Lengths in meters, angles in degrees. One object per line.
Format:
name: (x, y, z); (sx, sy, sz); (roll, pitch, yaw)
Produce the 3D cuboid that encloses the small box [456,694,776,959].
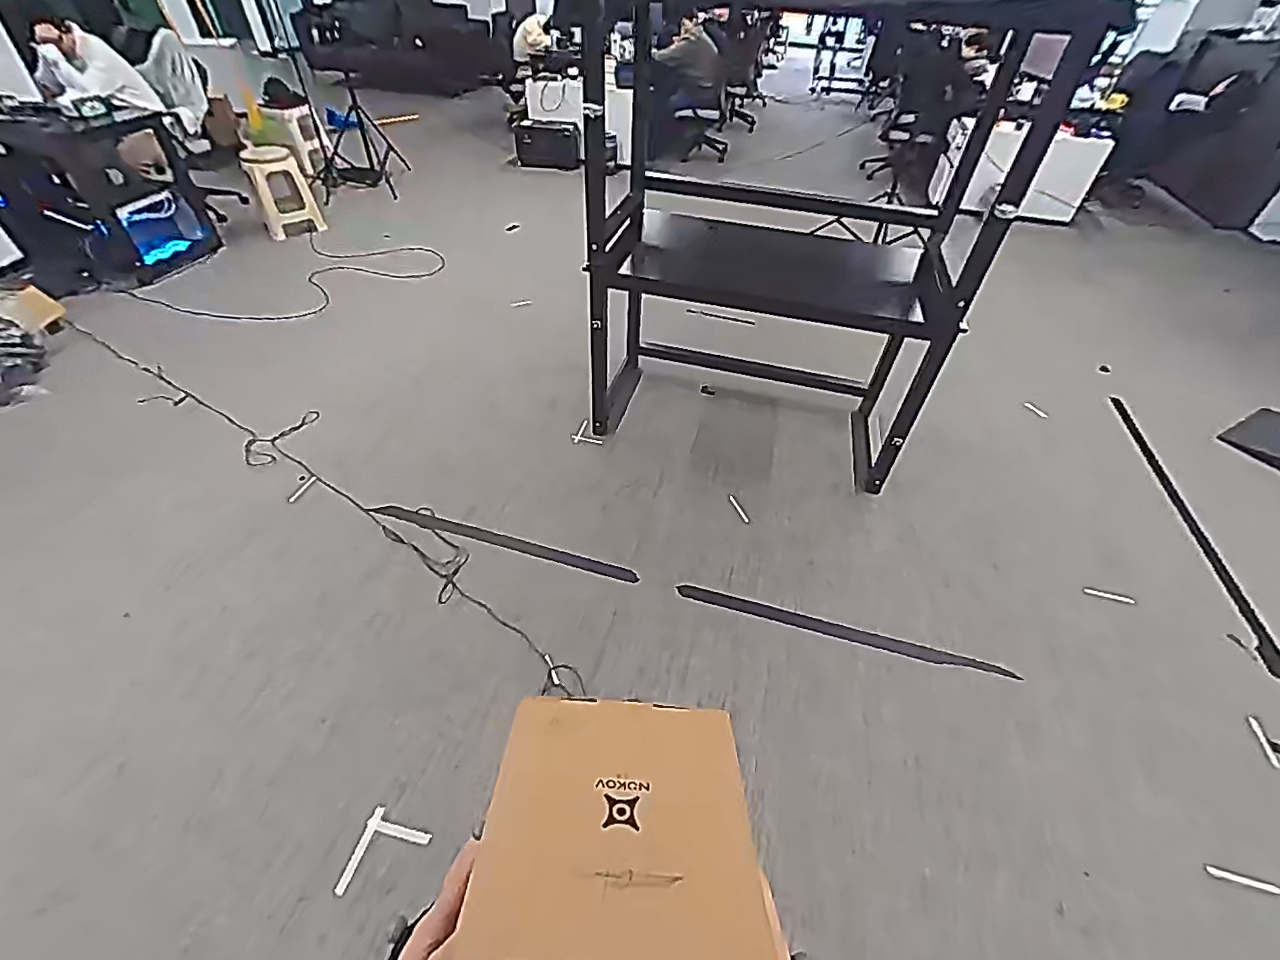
small box: (-0.020, 0.281, 0.374); (0.168, 0.176, 0.179); (5, 23, -2)
